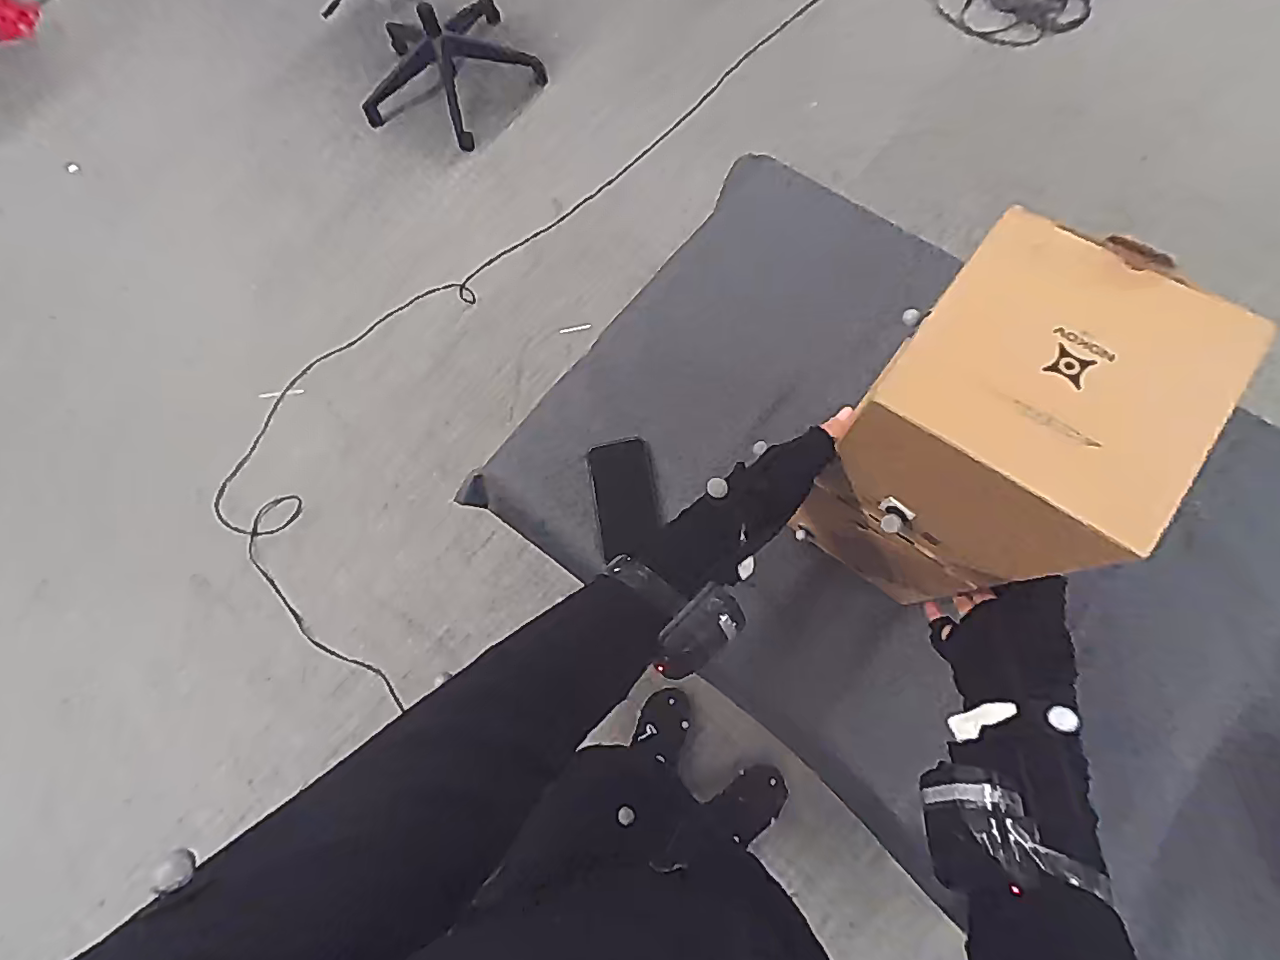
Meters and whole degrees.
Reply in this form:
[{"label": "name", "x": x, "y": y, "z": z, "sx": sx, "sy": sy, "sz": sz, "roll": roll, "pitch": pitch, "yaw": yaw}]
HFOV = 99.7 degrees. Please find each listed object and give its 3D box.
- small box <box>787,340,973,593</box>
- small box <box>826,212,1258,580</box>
[{"label": "small box", "x": 0.271, "y": -0.001, "z": 0.560, "sx": 0.168, "sy": 0.176, "sz": 0.179, "roll": 36, "pitch": 78, "yaw": 13}, {"label": "small box", "x": 0.264, "y": -0.047, "z": 0.405, "sx": 0.168, "sy": 0.176, "sz": 0.179, "roll": 35, "pitch": 80, "yaw": 14}]
